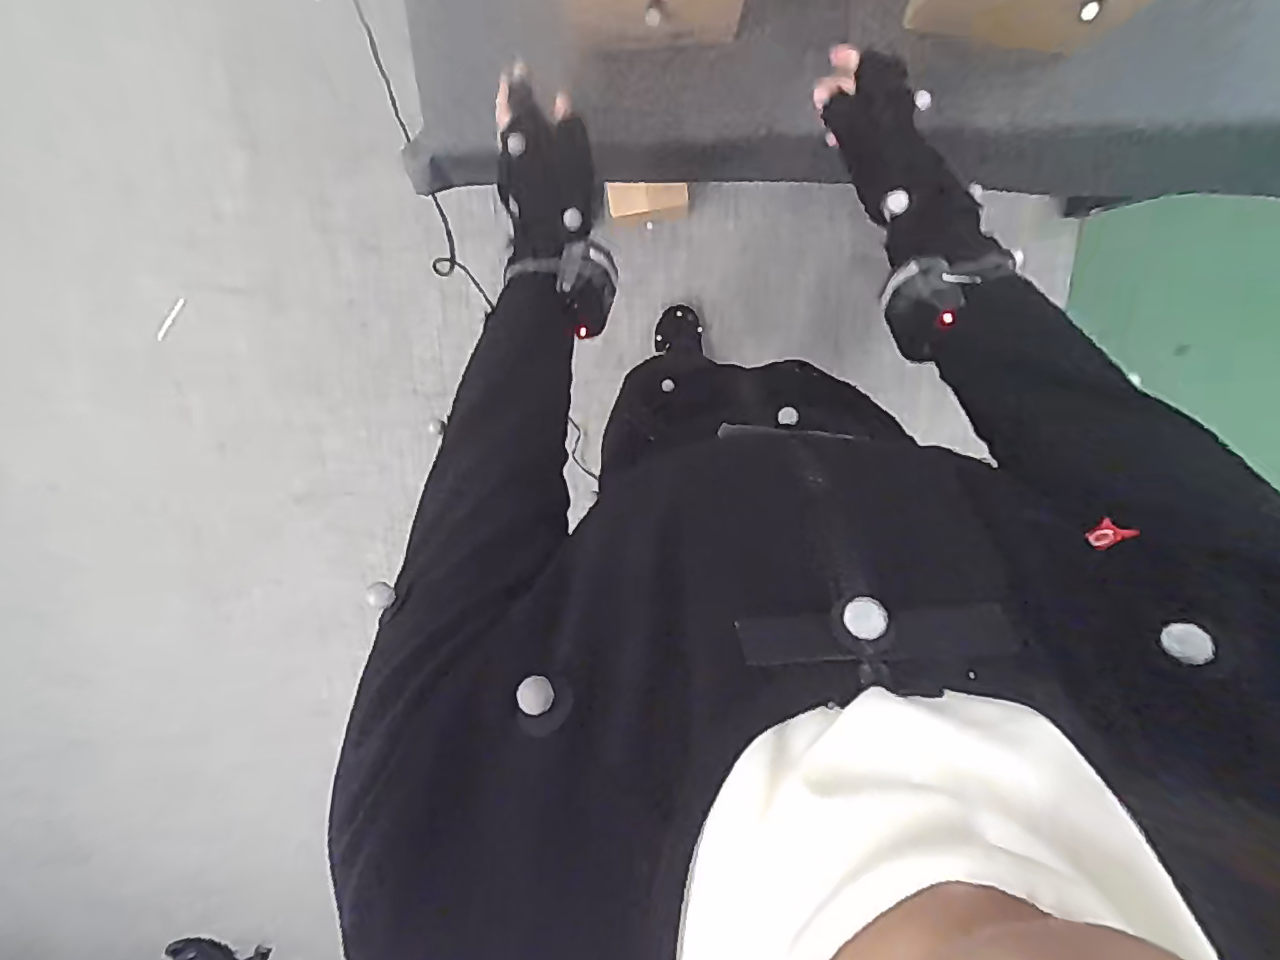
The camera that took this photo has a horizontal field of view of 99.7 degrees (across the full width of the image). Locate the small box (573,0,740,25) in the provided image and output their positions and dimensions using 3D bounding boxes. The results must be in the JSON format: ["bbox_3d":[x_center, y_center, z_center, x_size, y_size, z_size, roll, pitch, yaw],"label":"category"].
[{"bbox_3d":[0.011,-0.519,0.450,0.168,0.176,0.179,-2,106,3],"label":"small box"}]

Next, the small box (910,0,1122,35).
[{"bbox_3d":[0.357,-0.504,0.439,0.179,0.176,0.168,9,106,1],"label":"small box"}]
